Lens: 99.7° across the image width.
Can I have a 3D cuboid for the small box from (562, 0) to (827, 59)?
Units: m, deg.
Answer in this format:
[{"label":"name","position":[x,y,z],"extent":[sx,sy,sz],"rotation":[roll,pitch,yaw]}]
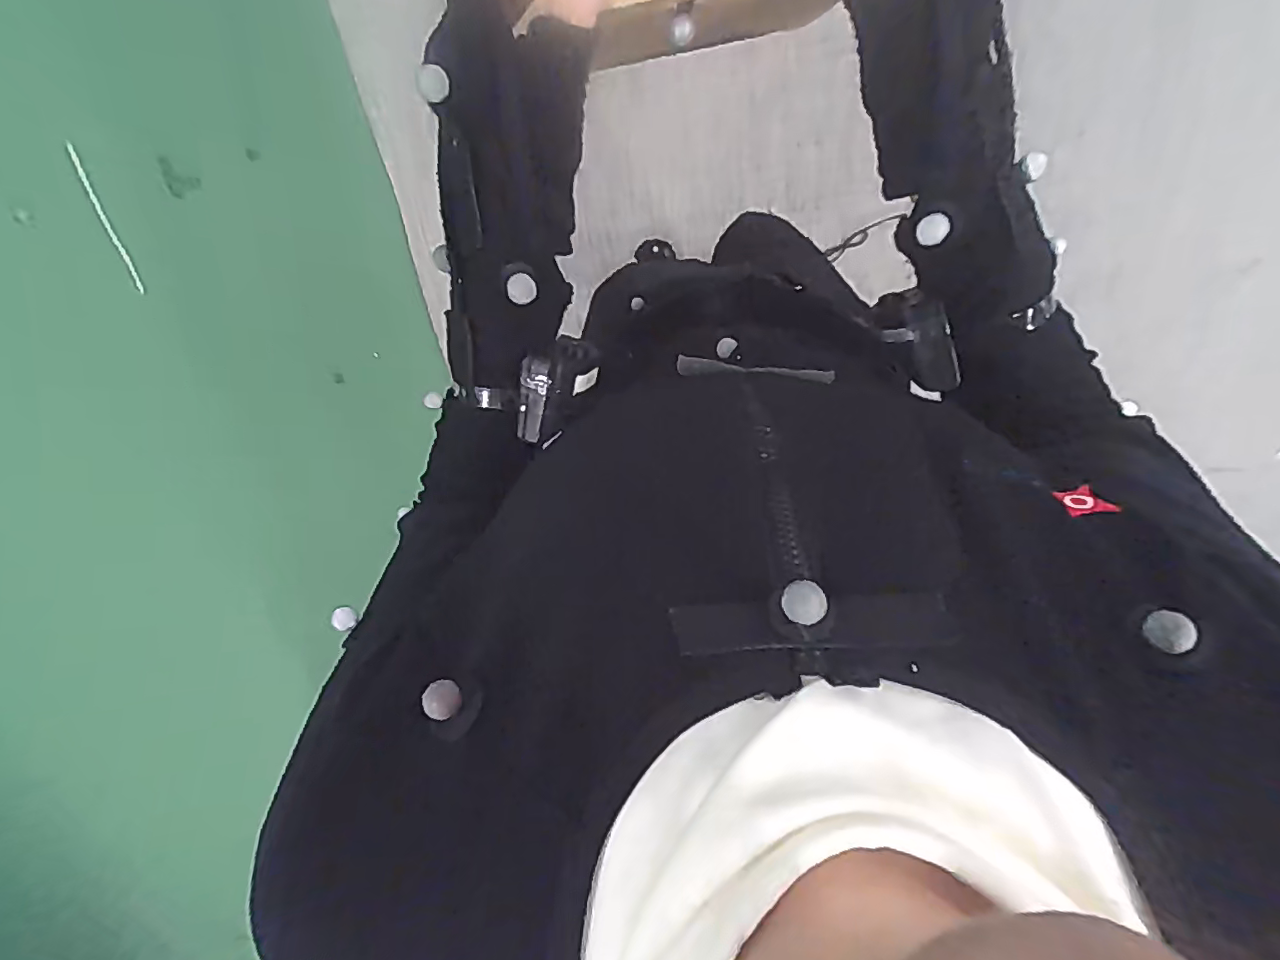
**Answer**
[{"label":"small box","position":[0.025,-0.336,0.258],"extent":[0.168,0.176,0.179],"rotation":[-7,120,5]}]
